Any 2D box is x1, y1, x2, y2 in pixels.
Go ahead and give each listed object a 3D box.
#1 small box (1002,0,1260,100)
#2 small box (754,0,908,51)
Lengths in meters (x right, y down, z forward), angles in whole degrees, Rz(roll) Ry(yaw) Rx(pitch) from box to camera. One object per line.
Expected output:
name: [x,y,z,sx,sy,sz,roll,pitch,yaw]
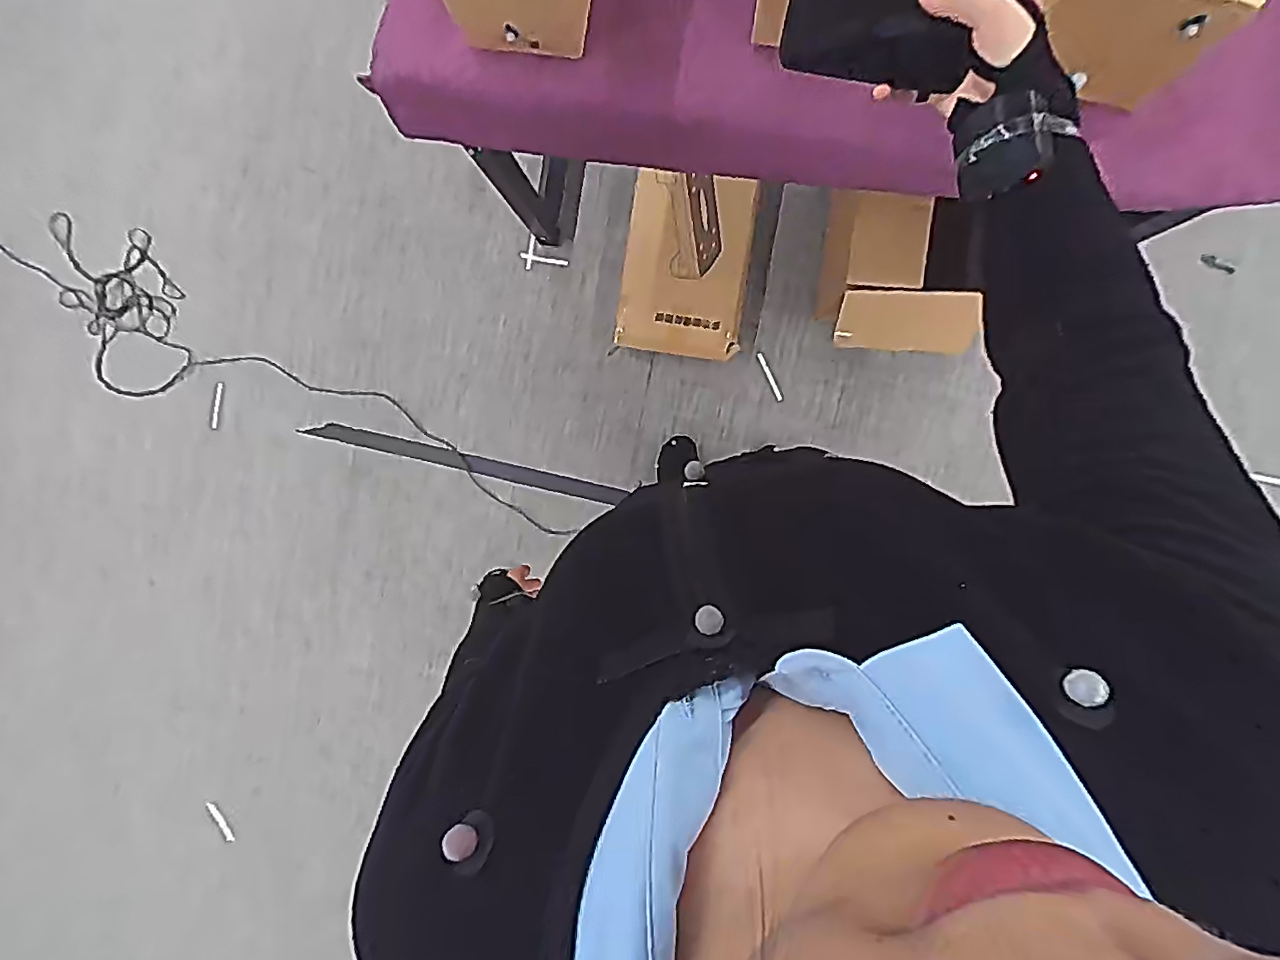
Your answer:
small box: [0.547,-0.561,0.593,0.179,0.176,0.168,17,96,4]
small box: [0.238,-0.638,0.619,0.179,0.176,0.168,10,92,5]
